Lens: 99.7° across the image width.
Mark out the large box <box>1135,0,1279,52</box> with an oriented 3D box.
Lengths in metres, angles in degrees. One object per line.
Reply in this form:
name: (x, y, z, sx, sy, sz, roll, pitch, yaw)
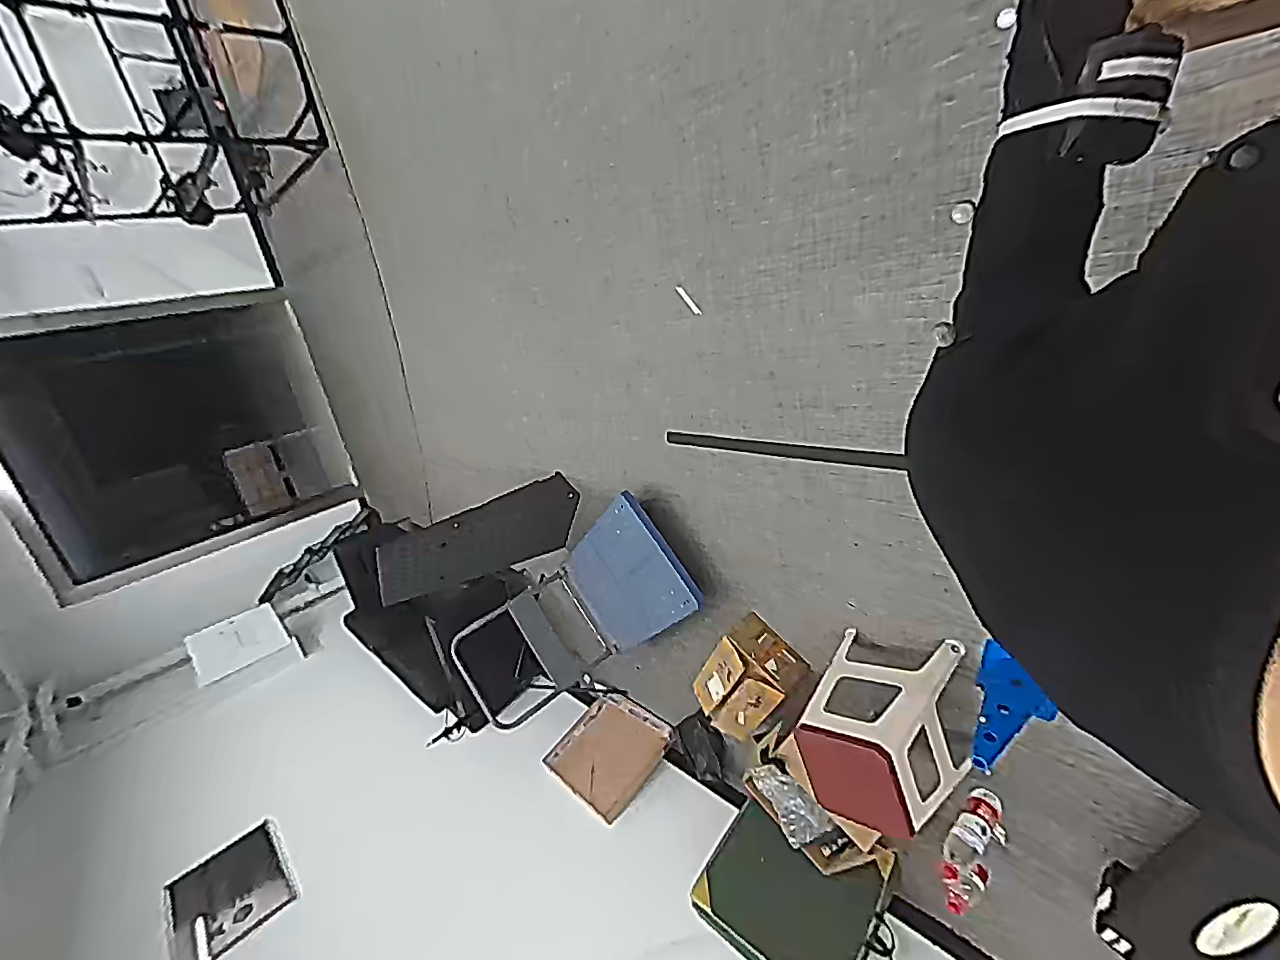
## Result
large box: (0.527, -0.463, 0.243, 0.408, 0.320, 0.320, 12, 124, 45)
